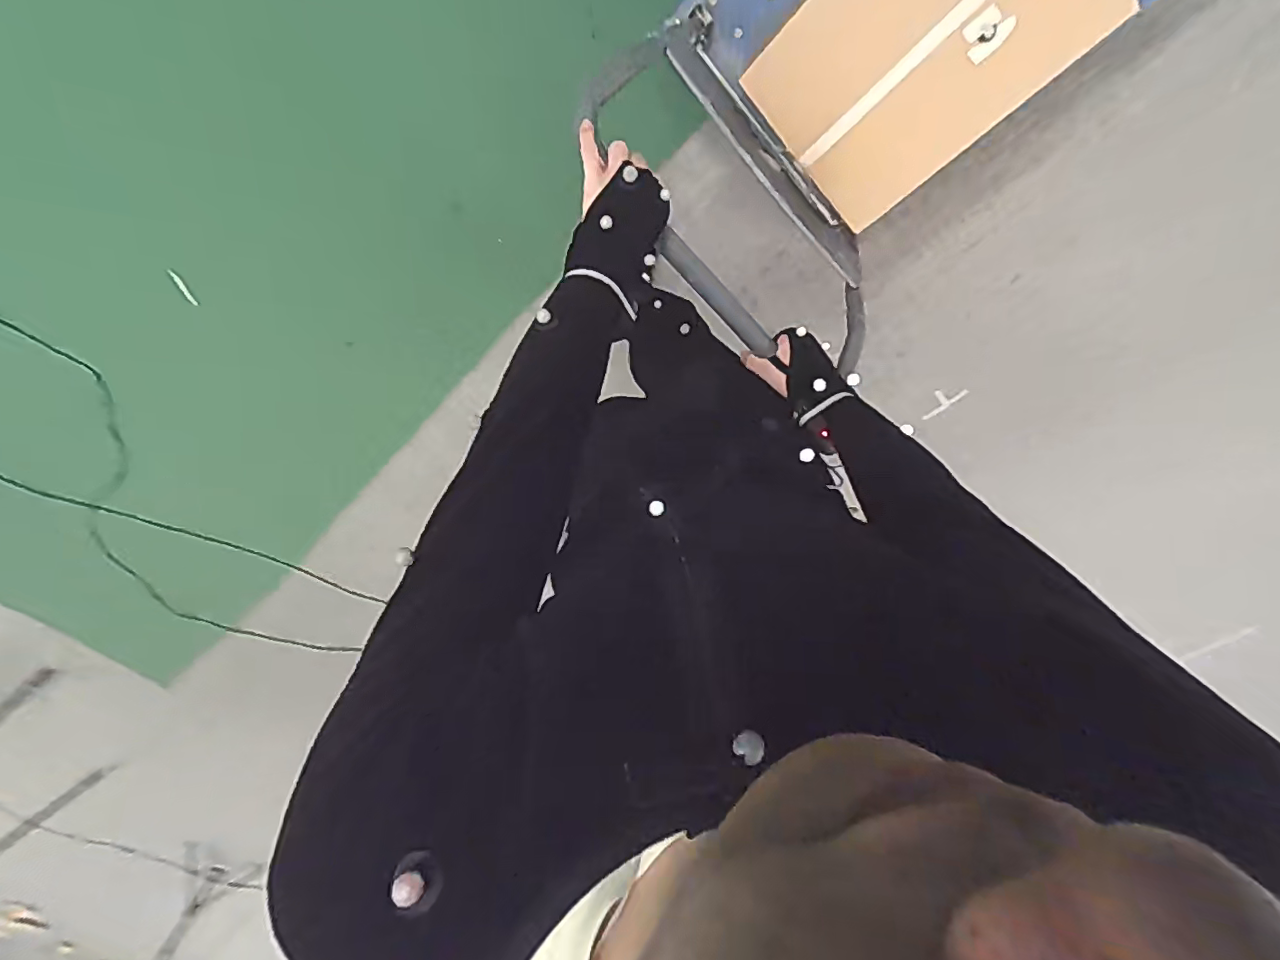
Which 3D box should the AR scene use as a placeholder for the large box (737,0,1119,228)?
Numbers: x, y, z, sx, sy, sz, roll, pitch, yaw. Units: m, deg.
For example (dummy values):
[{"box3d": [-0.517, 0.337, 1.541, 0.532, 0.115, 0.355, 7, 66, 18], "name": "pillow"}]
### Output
[{"box3d": [0.413, -0.708, 0.875, 0.320, 0.320, 0.408, 40, 128, -20], "name": "large box"}]
